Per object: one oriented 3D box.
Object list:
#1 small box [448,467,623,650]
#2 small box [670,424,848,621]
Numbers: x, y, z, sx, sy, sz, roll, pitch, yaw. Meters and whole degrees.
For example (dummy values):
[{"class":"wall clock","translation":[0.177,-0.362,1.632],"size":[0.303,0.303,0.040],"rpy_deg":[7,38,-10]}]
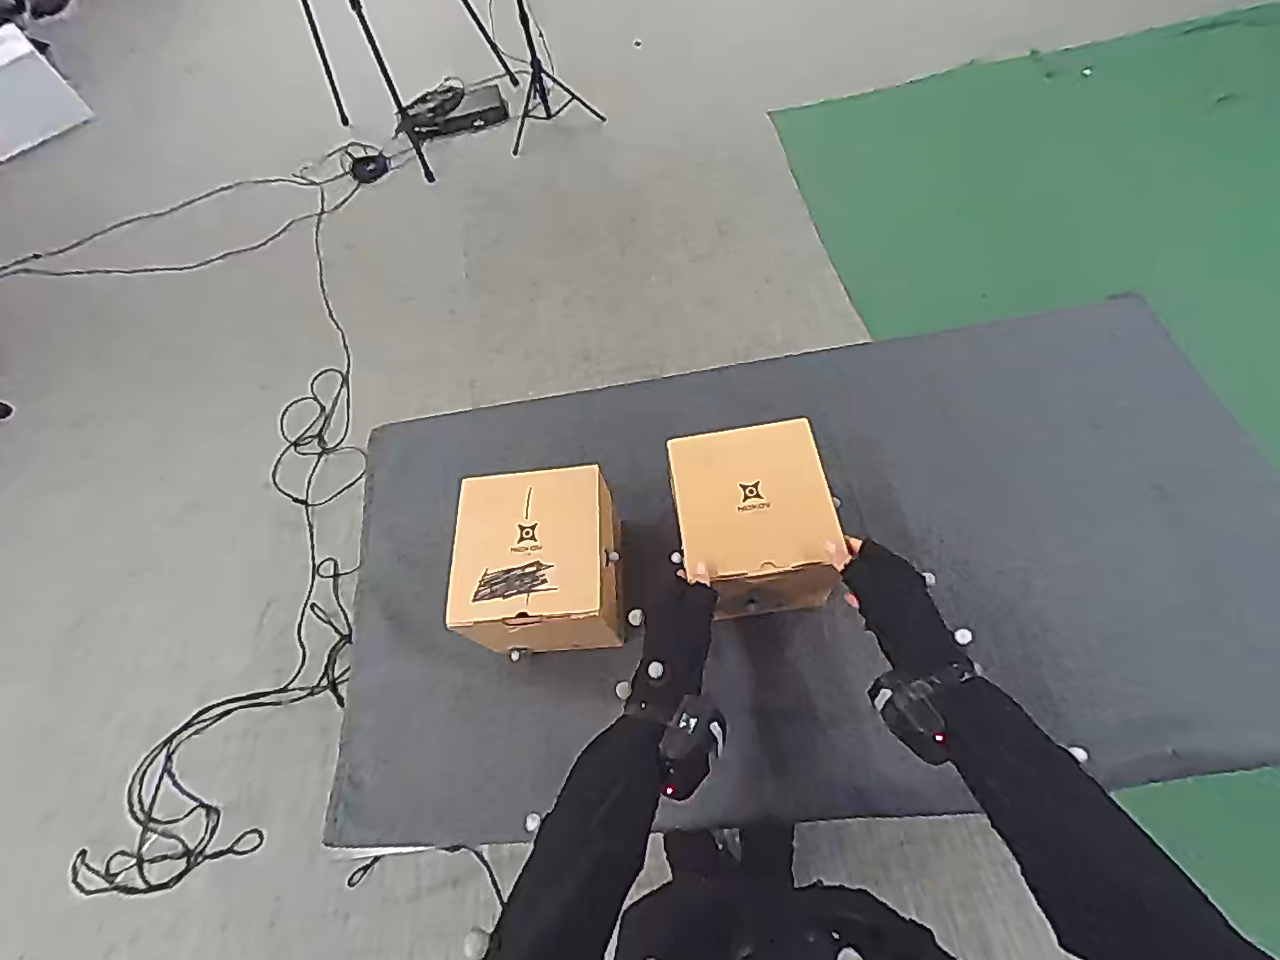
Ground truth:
[{"class":"small box","translation":[-0.114,0.106,0.665],"size":[0.168,0.176,0.179],"rpy_deg":[-6,60,5]},{"class":"small box","translation":[0.131,0.058,0.659],"size":[0.168,0.176,0.179],"rpy_deg":[-9,62,4]}]
